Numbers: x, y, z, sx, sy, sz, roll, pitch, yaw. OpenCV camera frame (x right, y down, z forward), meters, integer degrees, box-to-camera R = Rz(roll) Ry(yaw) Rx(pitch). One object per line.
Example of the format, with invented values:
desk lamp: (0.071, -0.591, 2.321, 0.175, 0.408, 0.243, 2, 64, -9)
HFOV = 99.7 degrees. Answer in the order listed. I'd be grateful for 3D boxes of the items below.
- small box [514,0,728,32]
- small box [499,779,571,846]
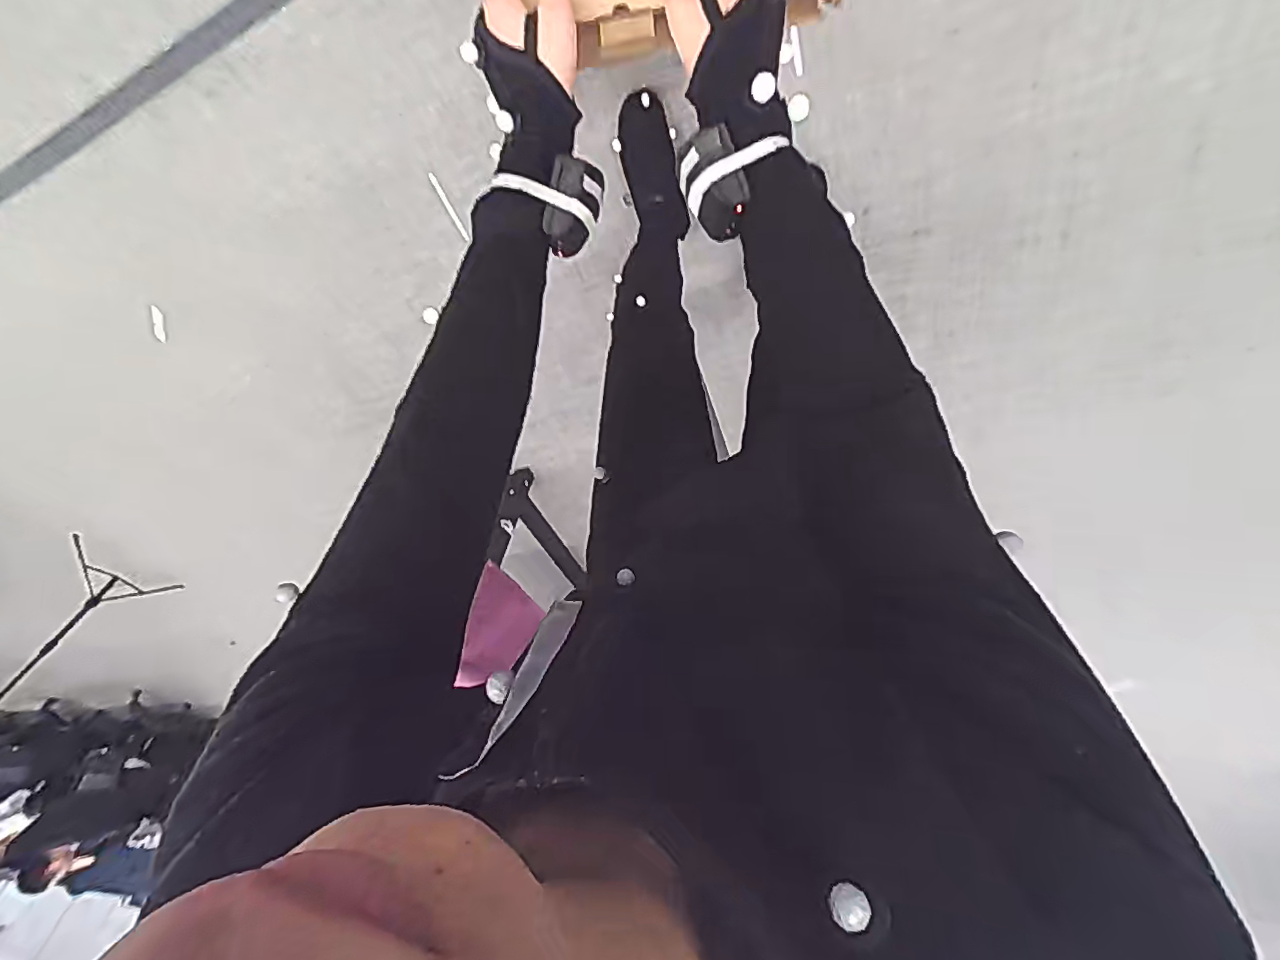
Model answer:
small box: (-0.018, -0.469, 0.400, 0.168, 0.176, 0.179, -2, 139, 9)
small box: (-0.357, 1.165, 1.895, 0.179, 0.176, 0.168, -18, 128, 27)
